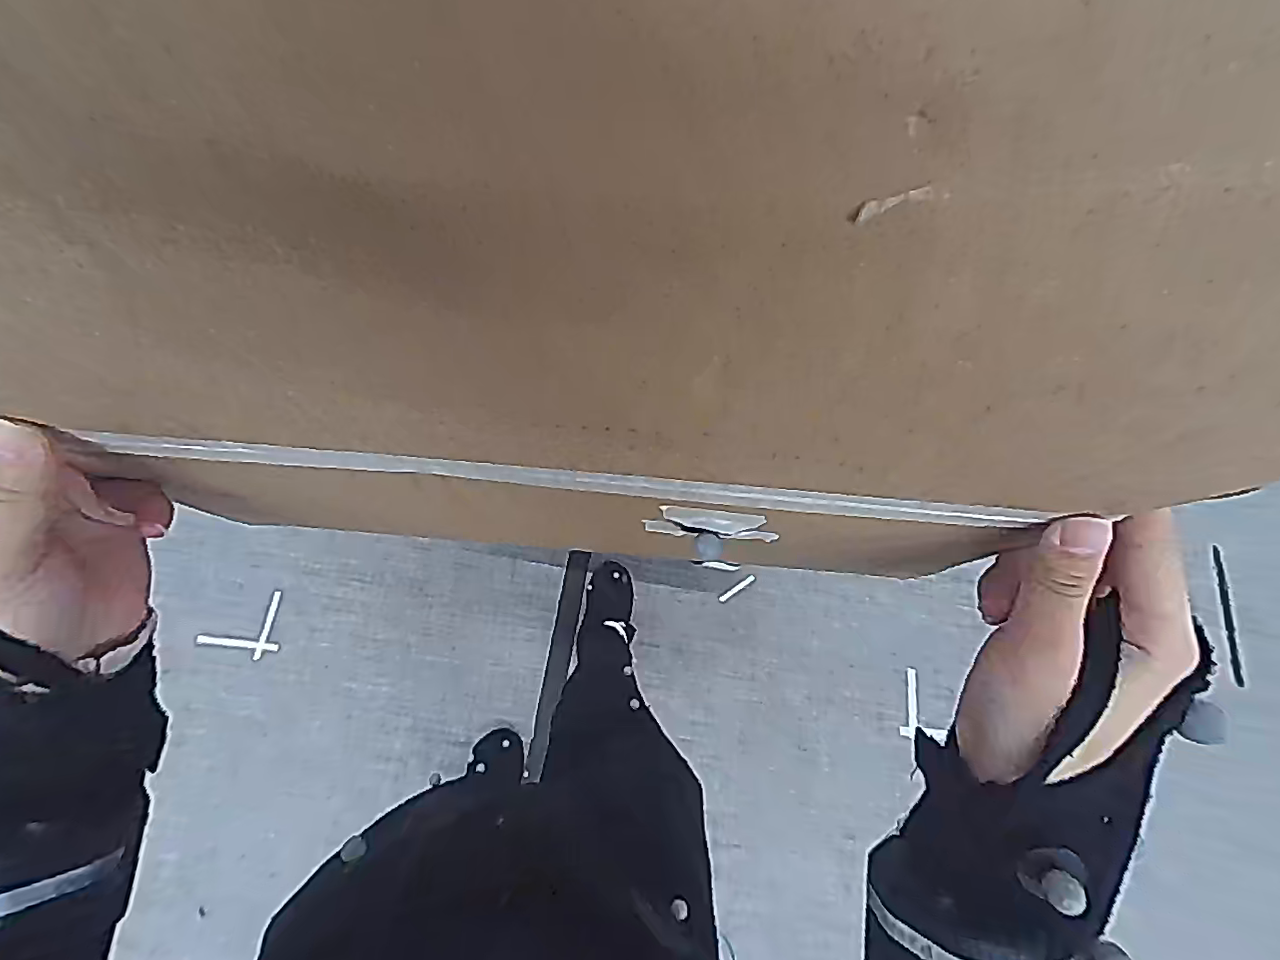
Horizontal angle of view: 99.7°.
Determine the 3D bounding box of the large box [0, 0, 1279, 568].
[{"bbox_3d":[-0.024,-0.150,0.242,0.408,0.320,0.320,4,73,0],"label":"large box"}]
